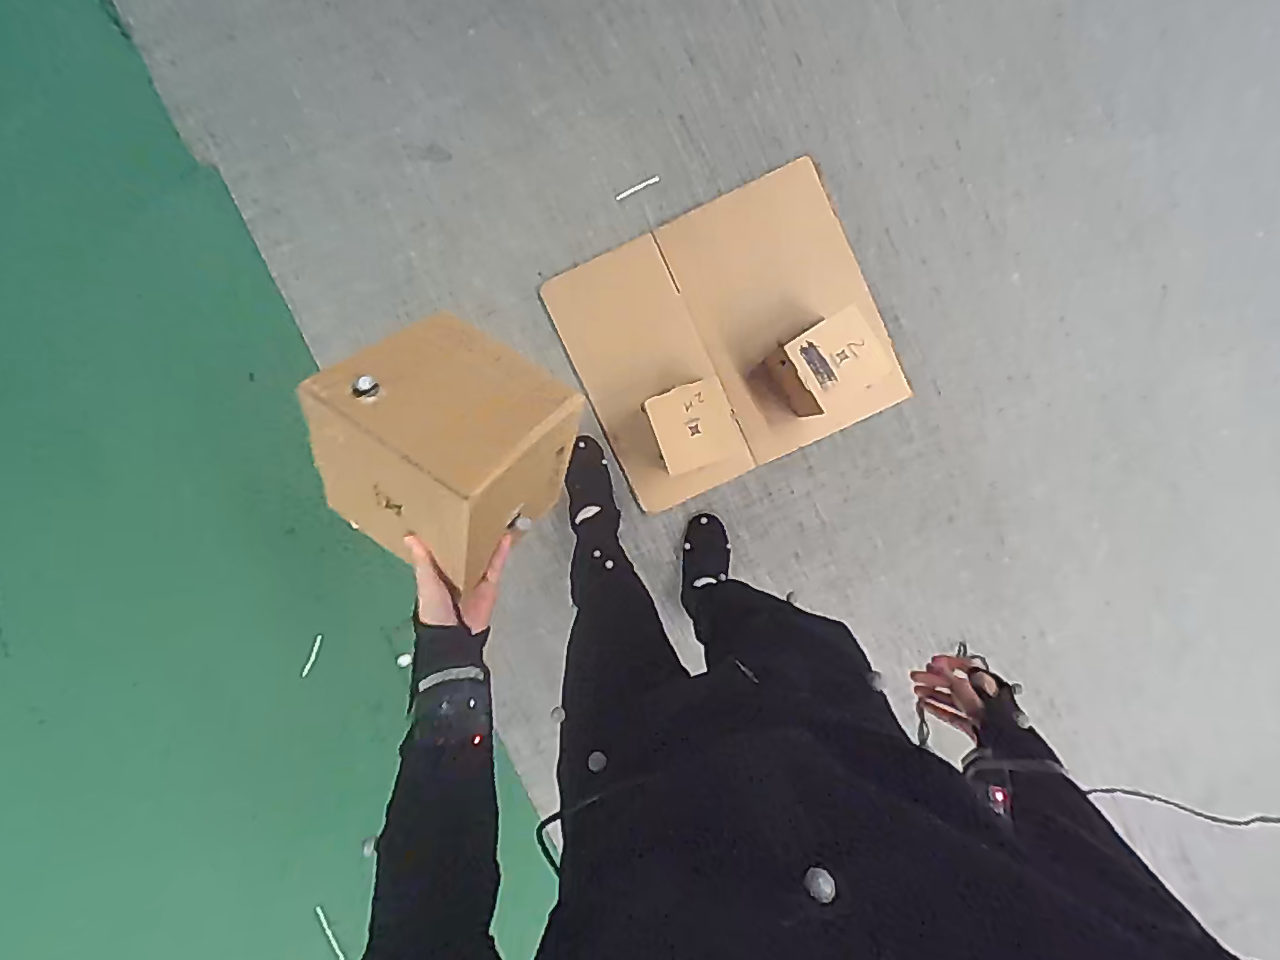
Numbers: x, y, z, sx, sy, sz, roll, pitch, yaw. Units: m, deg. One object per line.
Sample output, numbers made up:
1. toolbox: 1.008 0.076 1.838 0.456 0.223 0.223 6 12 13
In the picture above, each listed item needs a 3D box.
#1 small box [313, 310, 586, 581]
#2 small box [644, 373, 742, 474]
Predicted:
1. small box: -0.177 -0.041 0.536 0.179 0.176 0.168 34 136 9
2. small box: 0.115 -0.124 1.207 0.168 0.176 0.179 -19 94 2
